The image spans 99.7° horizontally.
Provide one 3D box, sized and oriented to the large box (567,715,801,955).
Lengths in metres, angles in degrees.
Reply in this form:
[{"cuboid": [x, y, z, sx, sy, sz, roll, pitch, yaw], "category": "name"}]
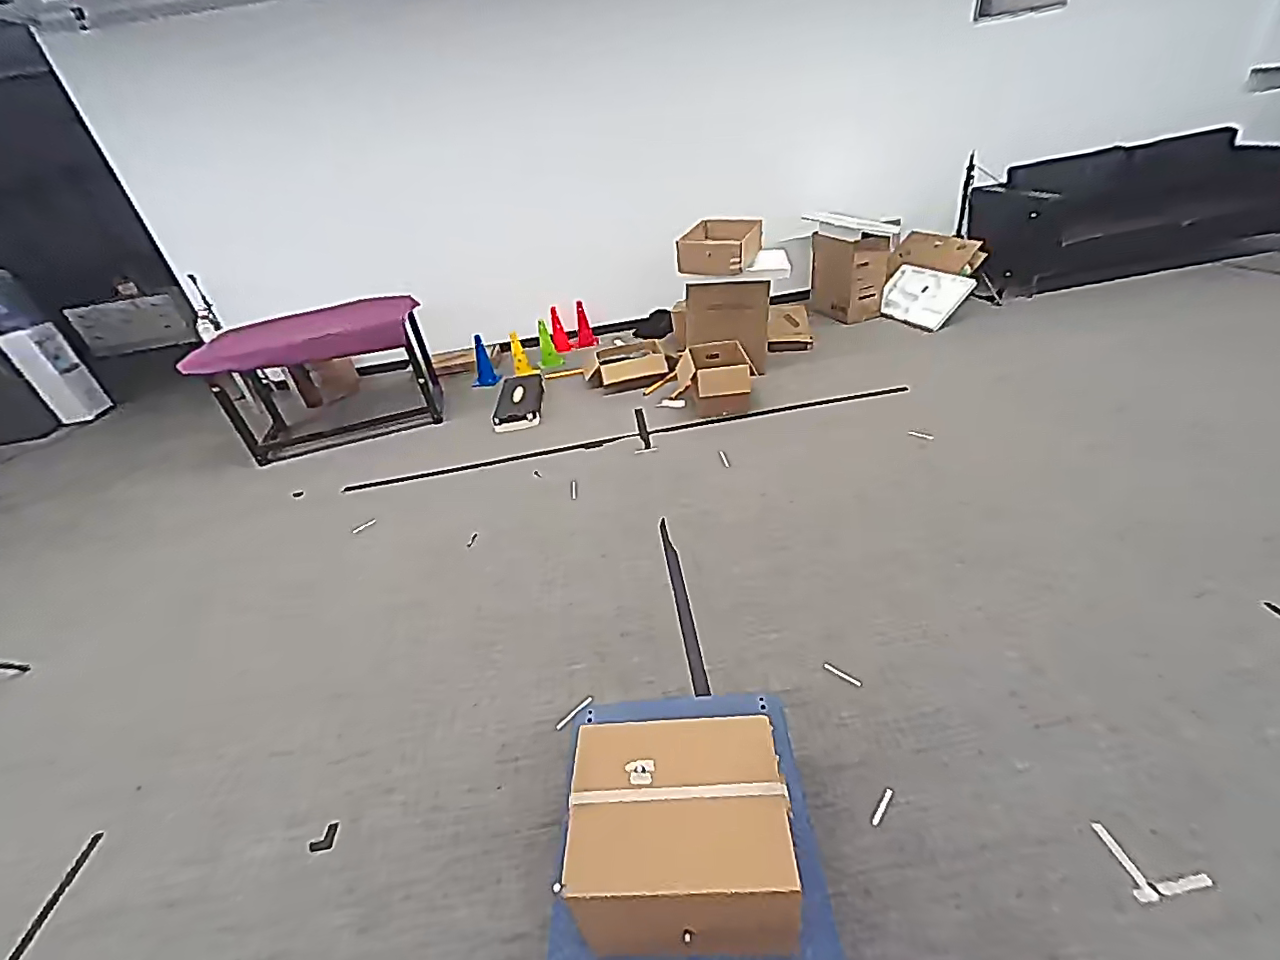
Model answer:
[{"cuboid": [0.093, 0.730, 1.116, 0.408, 0.320, 0.320, -7, 33, 5], "category": "large box"}]
